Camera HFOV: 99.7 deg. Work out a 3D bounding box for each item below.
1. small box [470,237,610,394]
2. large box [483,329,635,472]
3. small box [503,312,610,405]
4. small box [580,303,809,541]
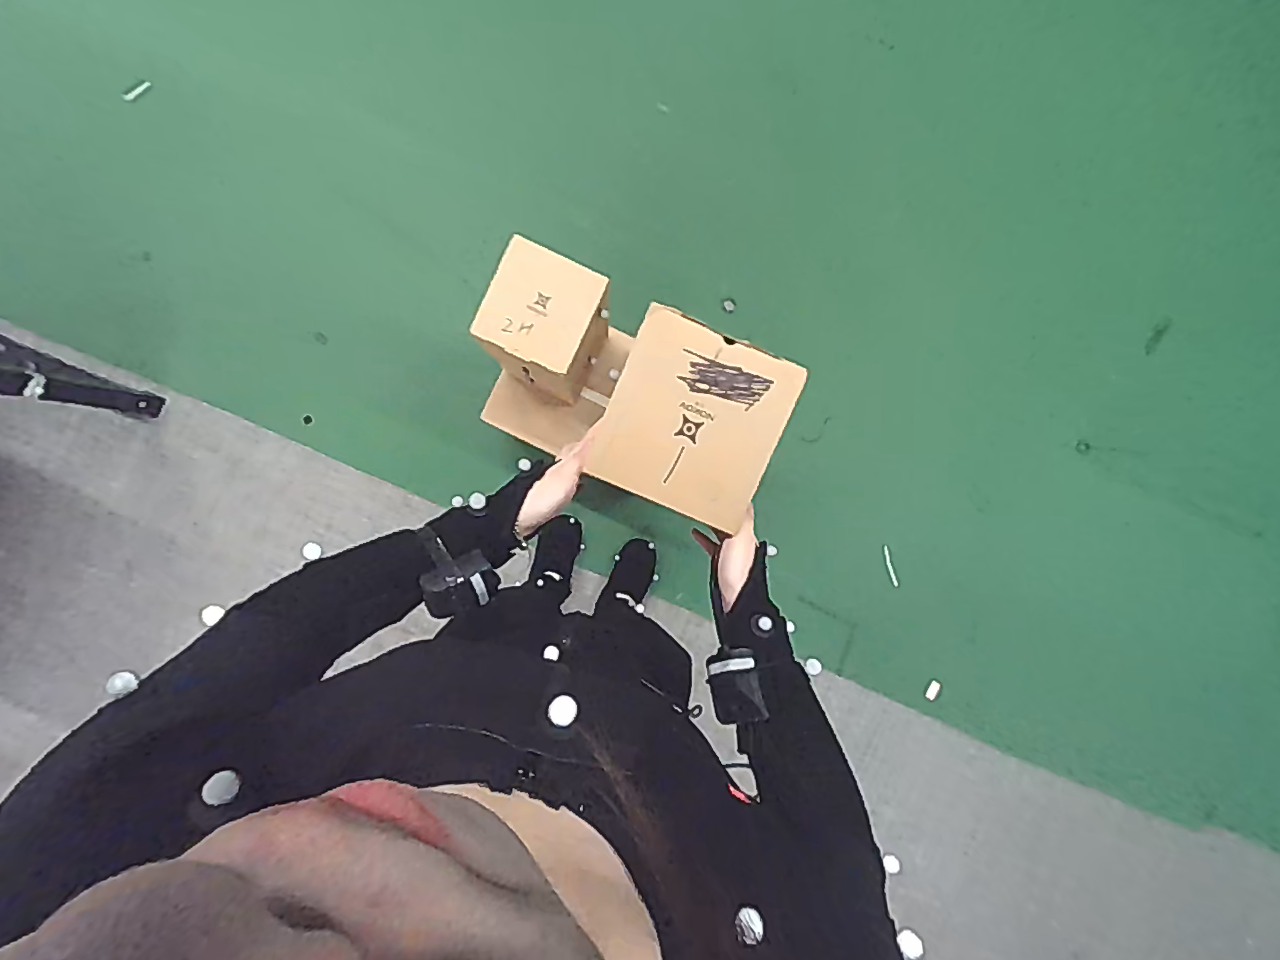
[{"bbox_3d":[-0.162,-0.268,0.921,0.168,0.176,0.179,25,88,-3],"label":"small box"},{"bbox_3d":[-0.112,-0.177,1.331,0.408,0.320,0.320,26,89,-3],"label":"large box"},{"bbox_3d":[-0.173,-0.270,1.085,0.168,0.176,0.179,26,88,-3],"label":"small box"},{"bbox_3d":[0.049,-0.061,0.581,0.168,0.176,0.179,24,96,-2],"label":"small box"}]
